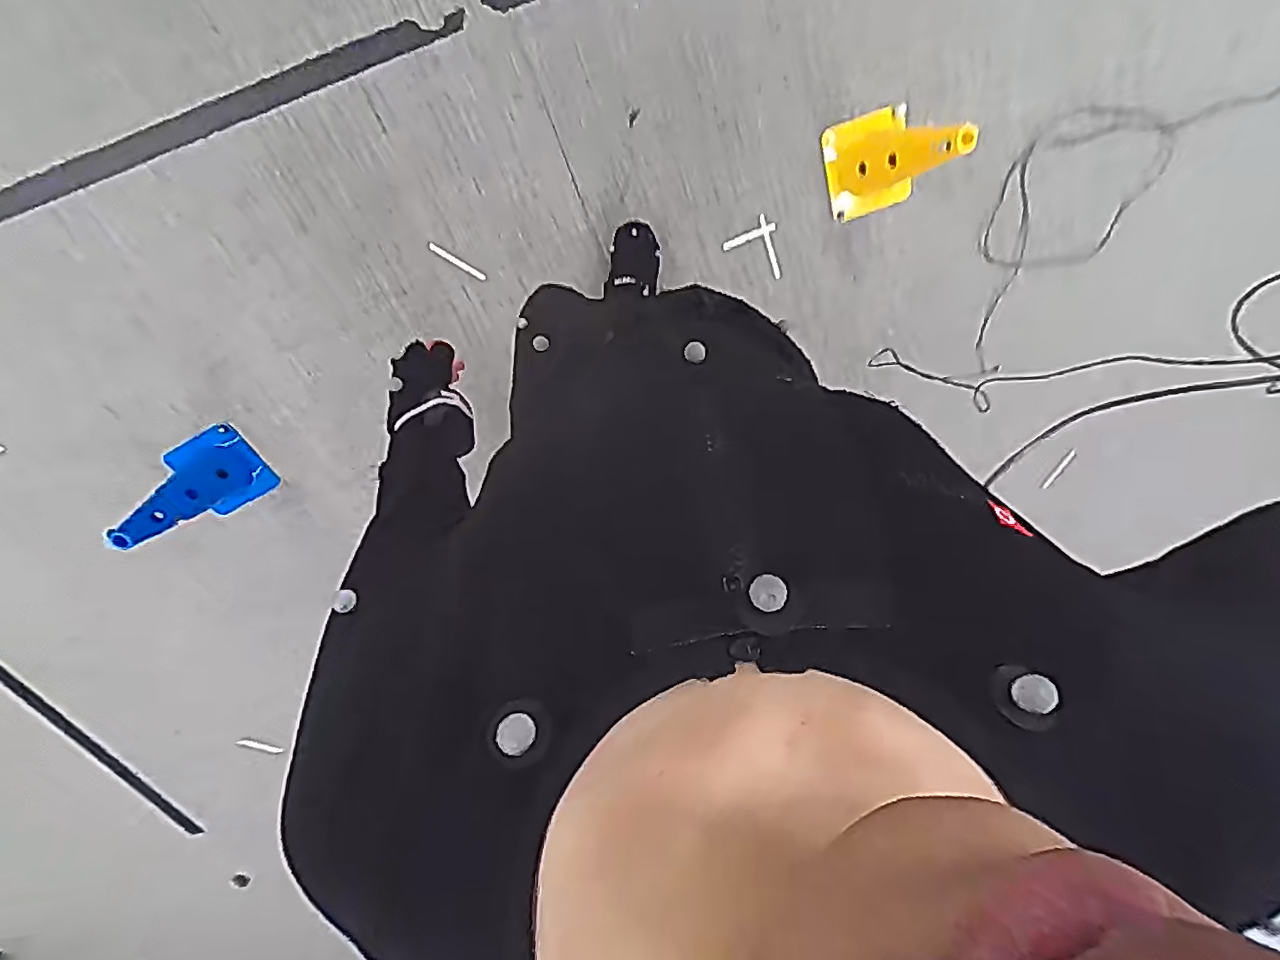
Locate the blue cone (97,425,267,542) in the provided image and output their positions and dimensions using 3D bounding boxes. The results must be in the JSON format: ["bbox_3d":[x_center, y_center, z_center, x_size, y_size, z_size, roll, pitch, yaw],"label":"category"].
[{"bbox_3d":[-1.052,0.040,1.221,0.193,0.380,0.192,-26,114,4],"label":"blue cone"}]
